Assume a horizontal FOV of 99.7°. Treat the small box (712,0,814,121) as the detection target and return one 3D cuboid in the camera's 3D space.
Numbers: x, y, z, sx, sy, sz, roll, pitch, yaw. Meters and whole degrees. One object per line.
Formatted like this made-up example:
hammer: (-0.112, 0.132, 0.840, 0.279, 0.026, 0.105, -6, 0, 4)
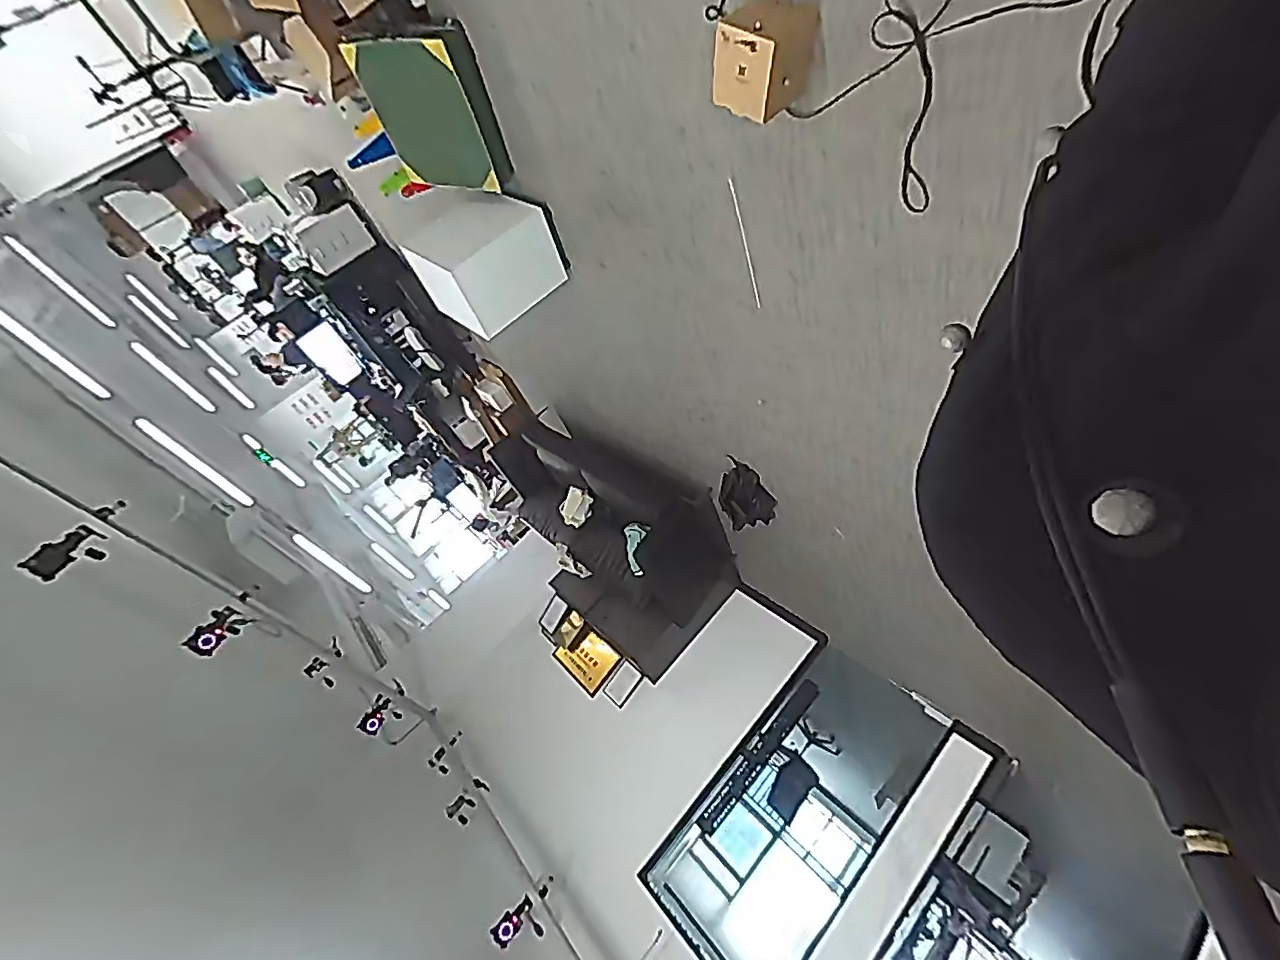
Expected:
small box: (0.293, -1.018, 1.300, 0.168, 0.176, 0.179, 39, 161, 21)
